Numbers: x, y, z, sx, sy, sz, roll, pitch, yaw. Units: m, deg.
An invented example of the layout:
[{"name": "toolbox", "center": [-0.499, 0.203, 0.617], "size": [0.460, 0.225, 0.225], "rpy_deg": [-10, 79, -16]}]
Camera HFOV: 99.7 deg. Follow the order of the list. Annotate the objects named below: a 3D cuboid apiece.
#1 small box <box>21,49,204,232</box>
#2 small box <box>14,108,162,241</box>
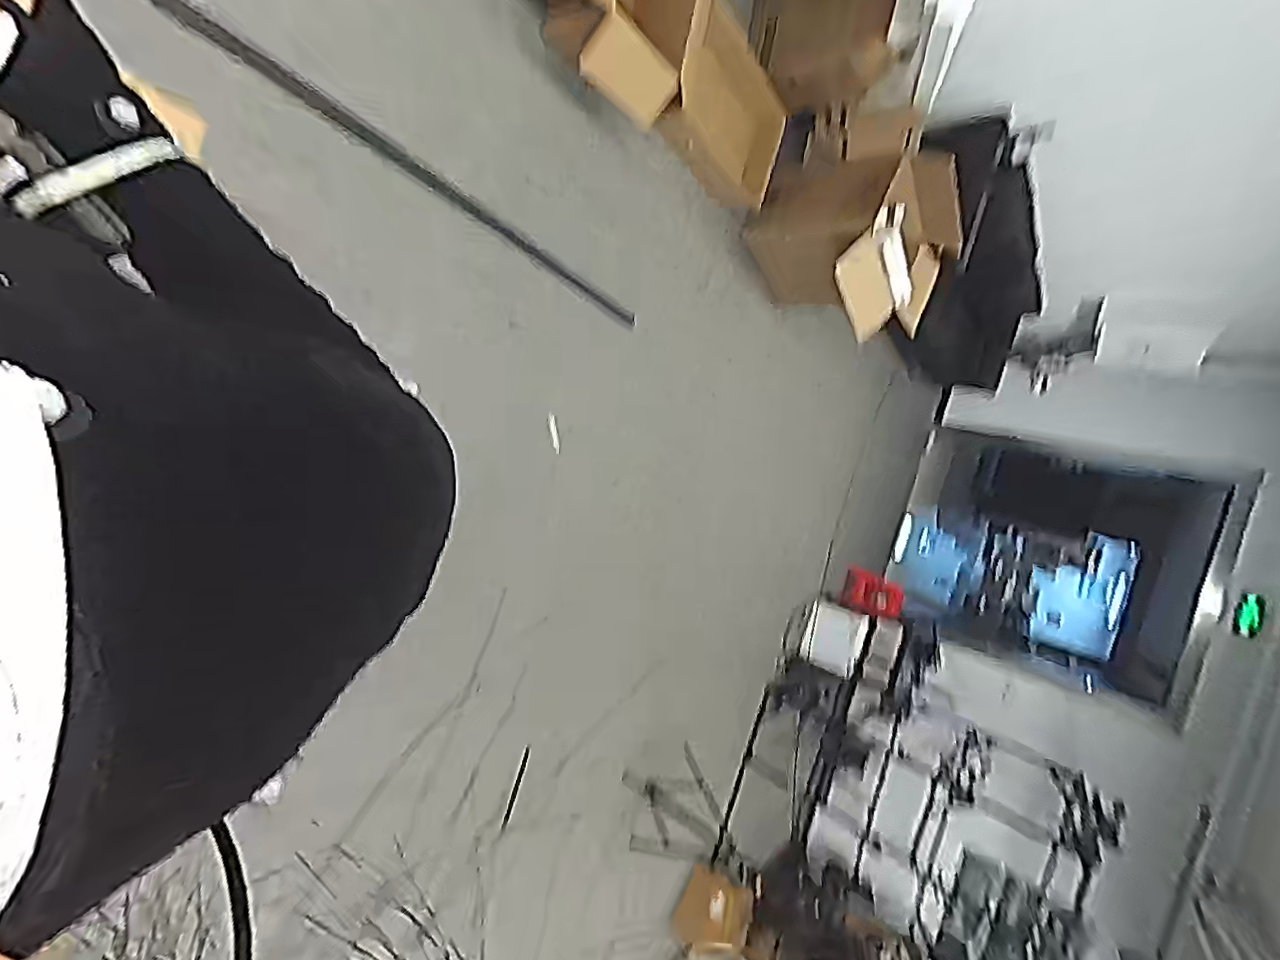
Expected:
[{"name": "small box", "center": [-0.836, -0.520, 0.857], "size": [0.168, 0.176, 0.179], "rpy_deg": [20, 89, -51]}, {"name": "small box", "center": [-0.959, -0.546, 0.961], "size": [0.179, 0.176, 0.168], "rpy_deg": [18, 90, -52]}]
